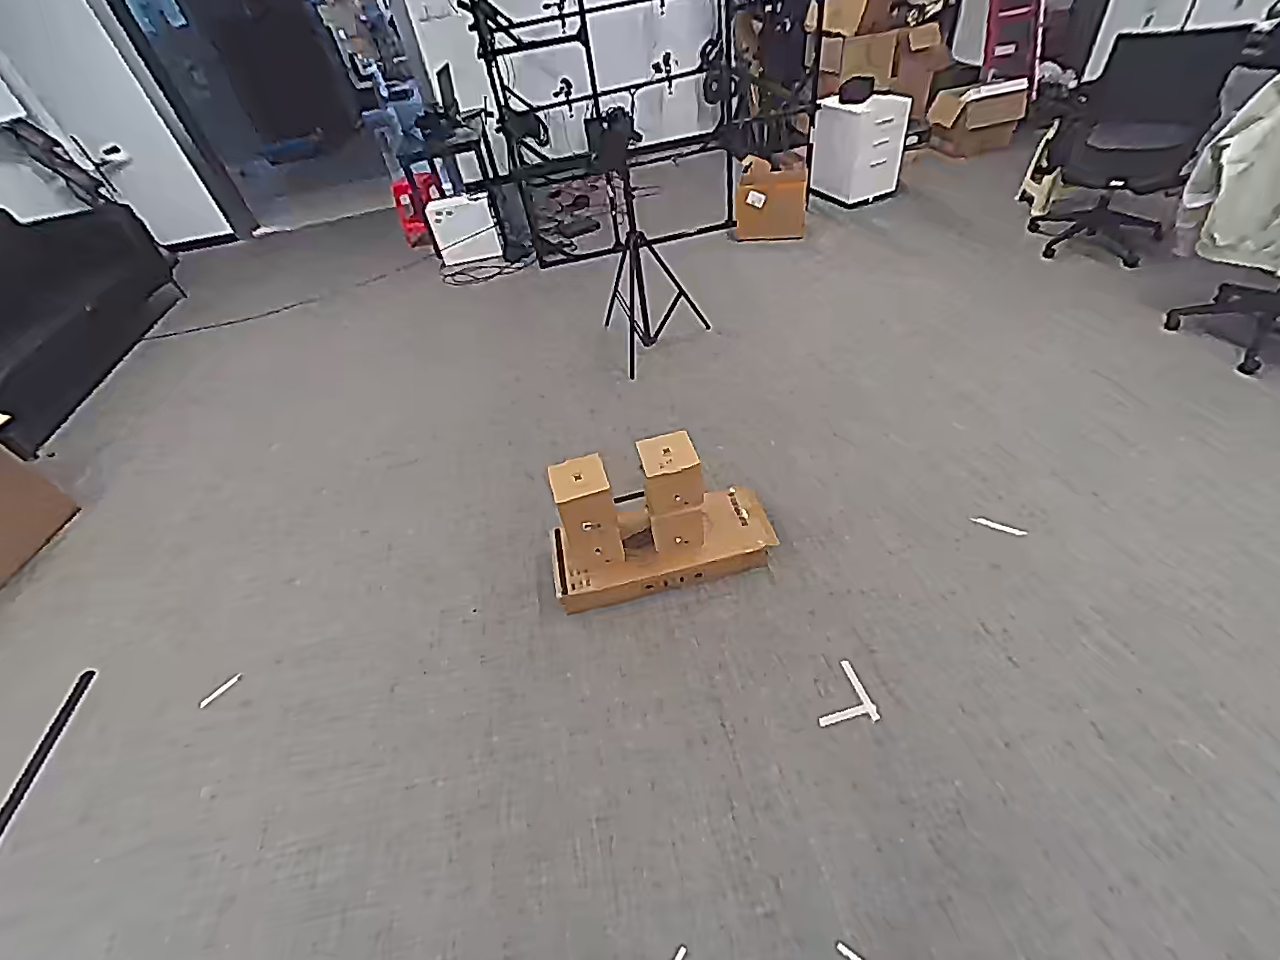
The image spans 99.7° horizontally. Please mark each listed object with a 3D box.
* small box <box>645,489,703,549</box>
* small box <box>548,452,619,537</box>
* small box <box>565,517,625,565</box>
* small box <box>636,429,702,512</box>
[{"bbox_3d":[0.111,0.101,1.797,0.168,0.176,0.179,-11,44,0],"label":"small box"},{"bbox_3d":[-0.175,0.046,1.670,0.168,0.176,0.179,-18,45,-7],"label":"small box"},{"bbox_3d":[-0.150,0.162,1.782,0.168,0.176,0.179,-13,44,-2],"label":"small box"},{"bbox_3d":[0.091,-0.028,1.694,0.168,0.176,0.179,-14,44,-3],"label":"small box"}]
